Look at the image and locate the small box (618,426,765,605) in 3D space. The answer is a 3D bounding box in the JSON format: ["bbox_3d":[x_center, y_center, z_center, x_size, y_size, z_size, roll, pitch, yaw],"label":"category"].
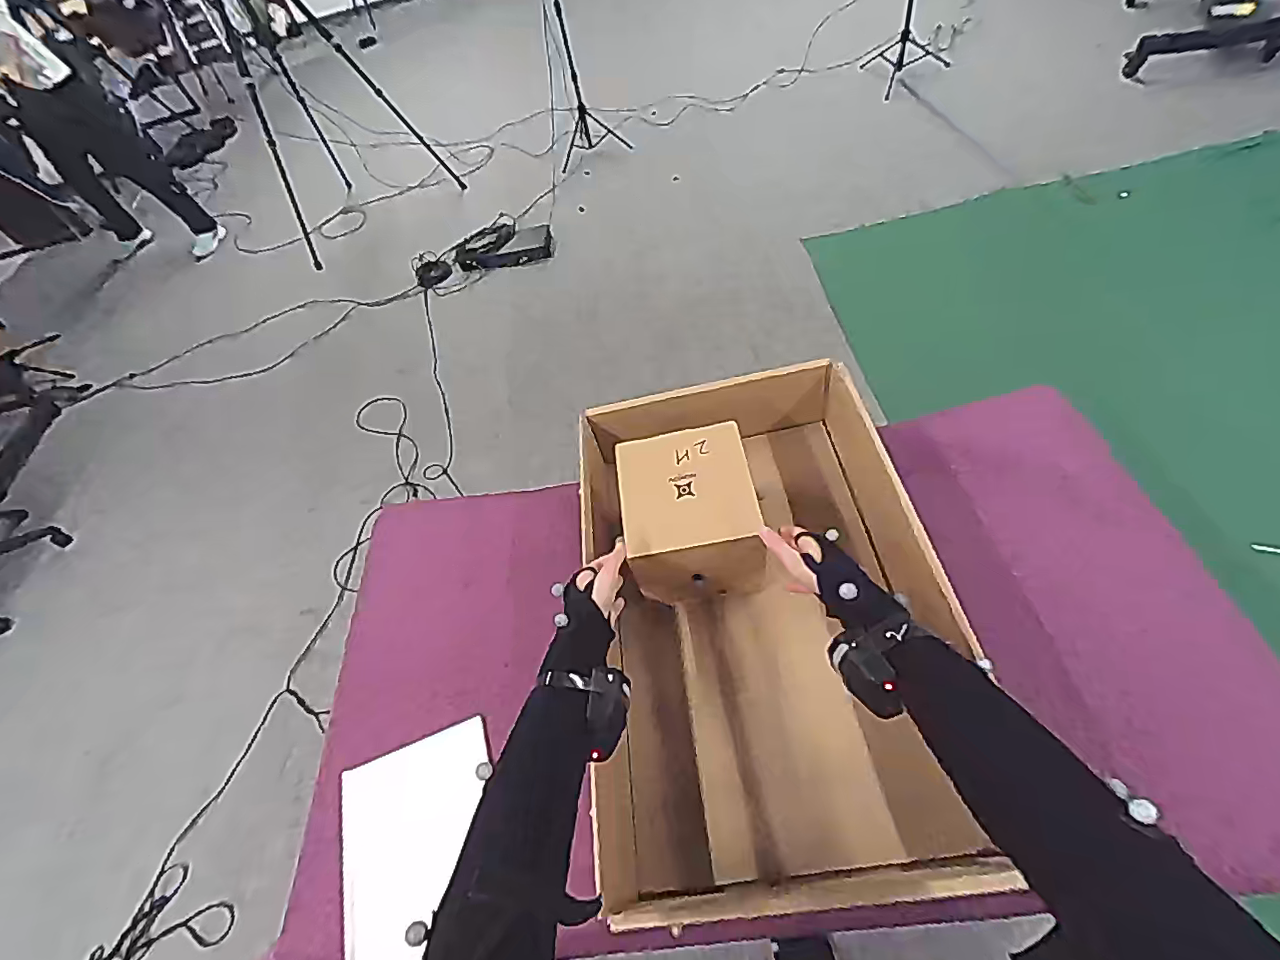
[{"bbox_3d":[0.072,0.057,0.733,0.168,0.176,0.179,-11,54,6],"label":"small box"}]
